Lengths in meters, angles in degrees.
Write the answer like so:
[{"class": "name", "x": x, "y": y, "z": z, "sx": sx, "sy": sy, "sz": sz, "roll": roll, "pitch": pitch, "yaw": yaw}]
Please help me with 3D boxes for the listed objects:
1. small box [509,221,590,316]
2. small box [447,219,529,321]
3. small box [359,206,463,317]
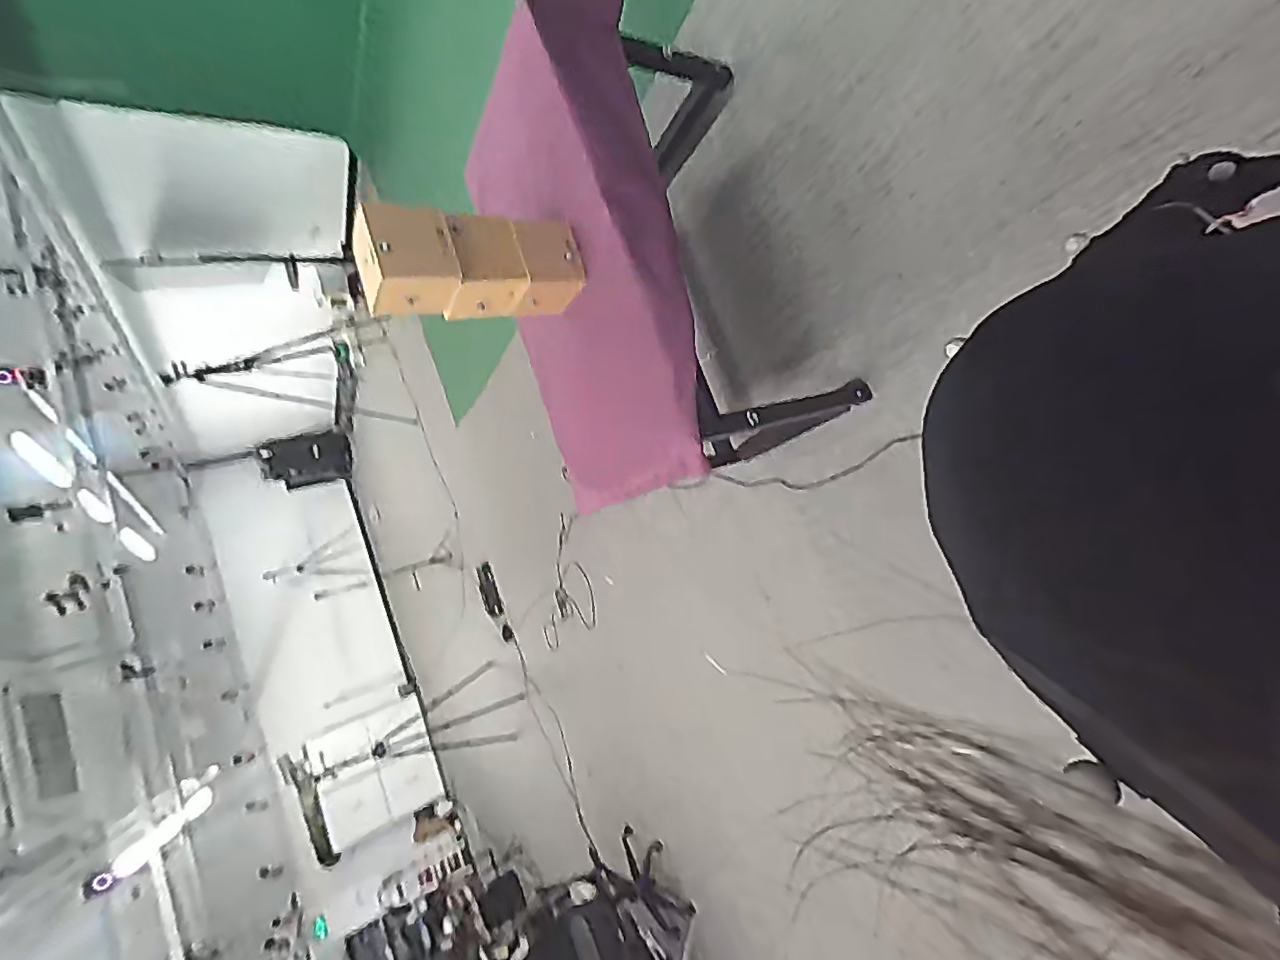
[{"class": "small box", "x": -0.254, "y": -0.540, "z": 1.393, "sx": 0.179, "sy": 0.176, "sz": 0.168, "roll": -23, "pitch": 85, "yaw": 55}, {"class": "small box", "x": -0.386, "y": -0.508, "z": 1.305, "sx": 0.168, "sy": 0.176, "sz": 0.179, "roll": -26, "pitch": 82, "yaw": 56}, {"class": "small box", "x": -0.505, "y": -0.476, "z": 1.194, "sx": 0.179, "sy": 0.176, "sz": 0.168, "roll": -21, "pitch": 86, "yaw": 57}]
